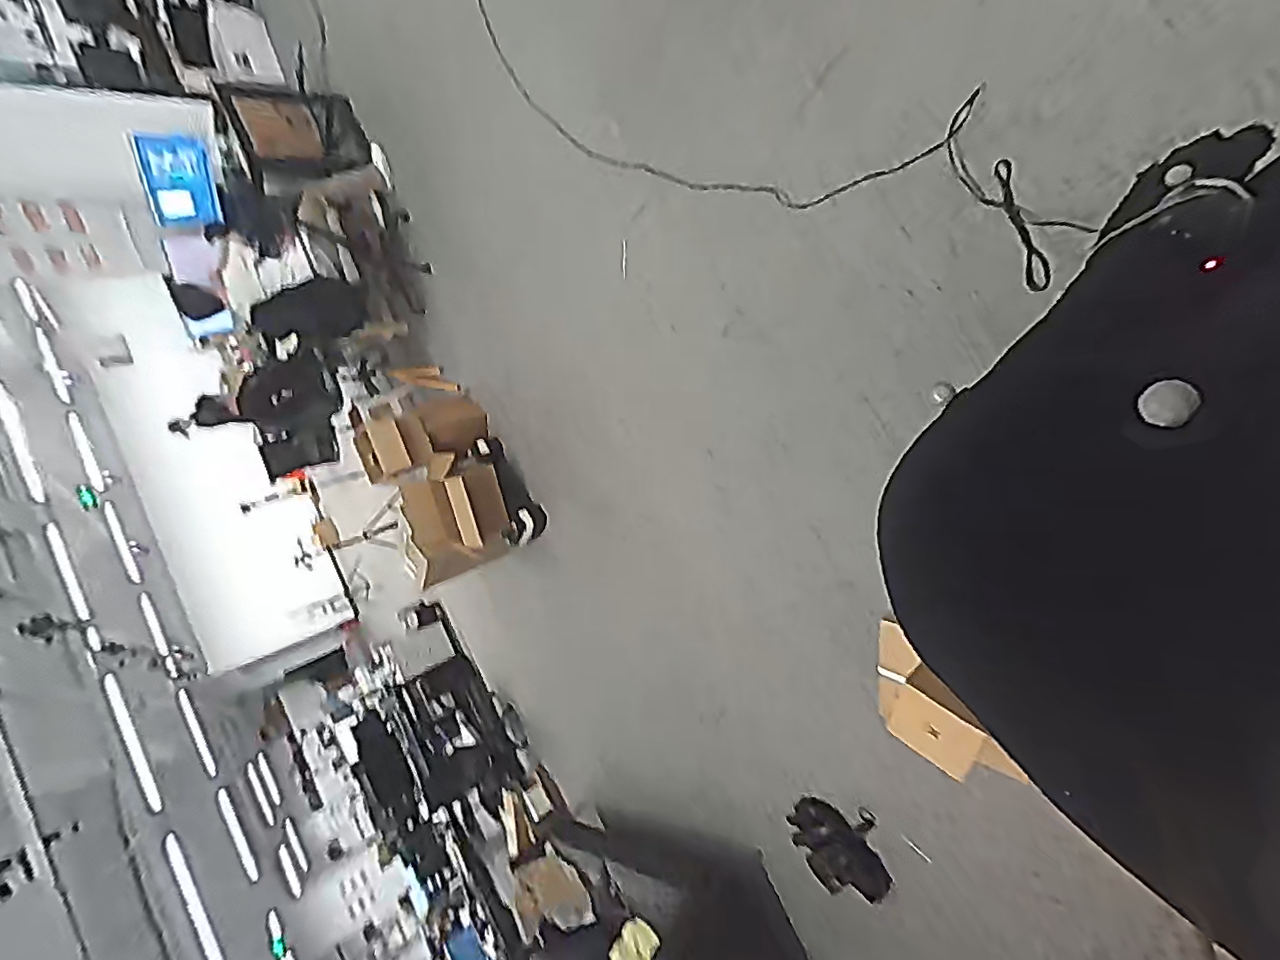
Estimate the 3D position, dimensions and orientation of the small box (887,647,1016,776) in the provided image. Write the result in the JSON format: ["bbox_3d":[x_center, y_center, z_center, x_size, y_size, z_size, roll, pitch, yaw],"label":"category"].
[{"bbox_3d":[0.694,0.504,1.208,0.179,0.176,0.168,30,130,39],"label":"small box"}]
